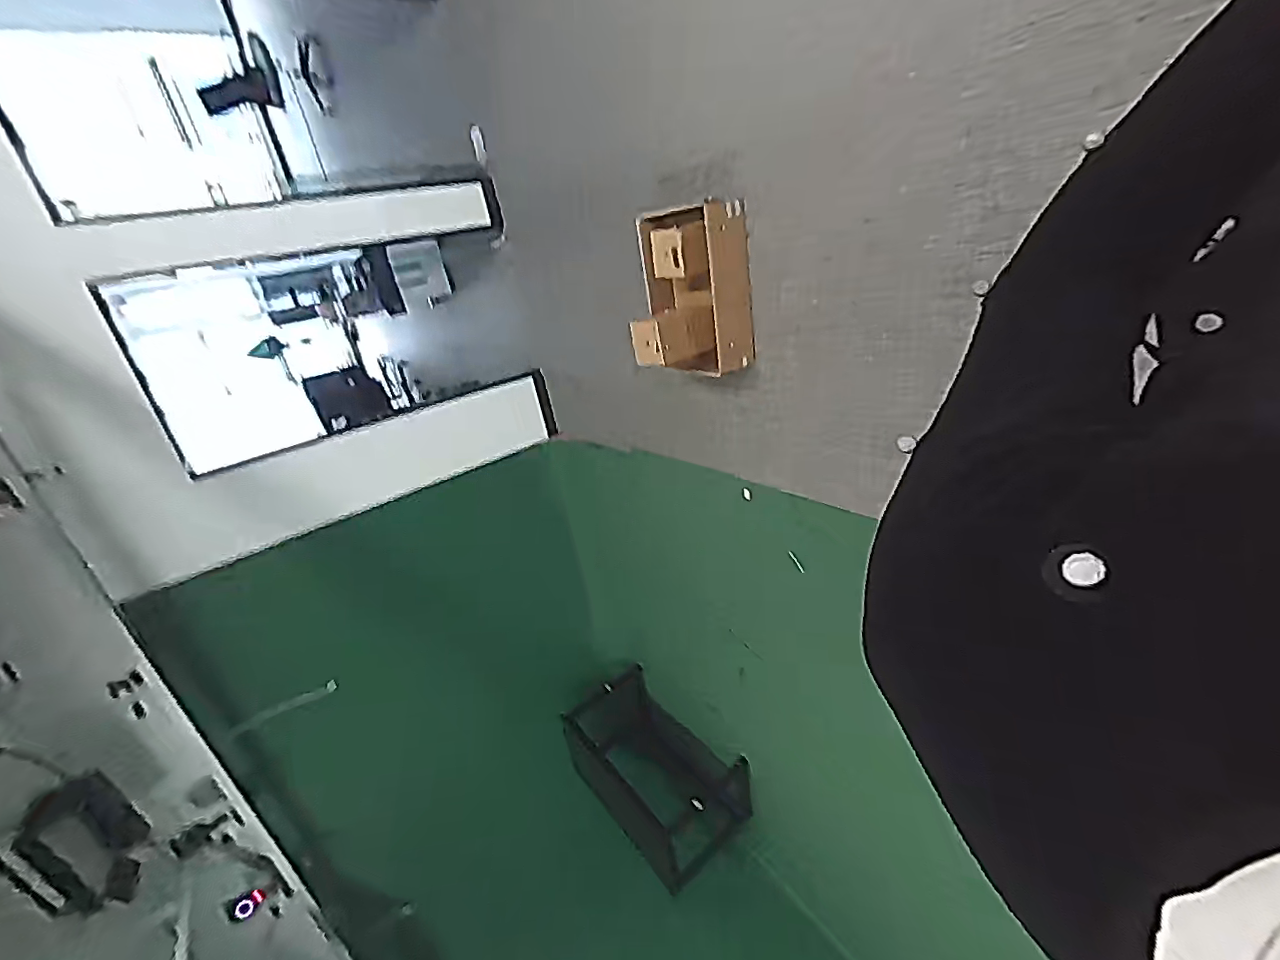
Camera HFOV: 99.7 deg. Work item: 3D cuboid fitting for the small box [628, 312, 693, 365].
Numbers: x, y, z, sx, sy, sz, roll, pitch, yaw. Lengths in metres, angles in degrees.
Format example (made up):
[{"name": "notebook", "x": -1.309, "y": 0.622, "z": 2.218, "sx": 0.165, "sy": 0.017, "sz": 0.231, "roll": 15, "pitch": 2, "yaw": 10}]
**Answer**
[{"name": "small box", "x": 0.083, "y": -0.549, "z": 2.096, "sx": 0.179, "sy": 0.176, "sz": 0.168, "roll": 18, "pitch": 127, "yaw": 52}]
